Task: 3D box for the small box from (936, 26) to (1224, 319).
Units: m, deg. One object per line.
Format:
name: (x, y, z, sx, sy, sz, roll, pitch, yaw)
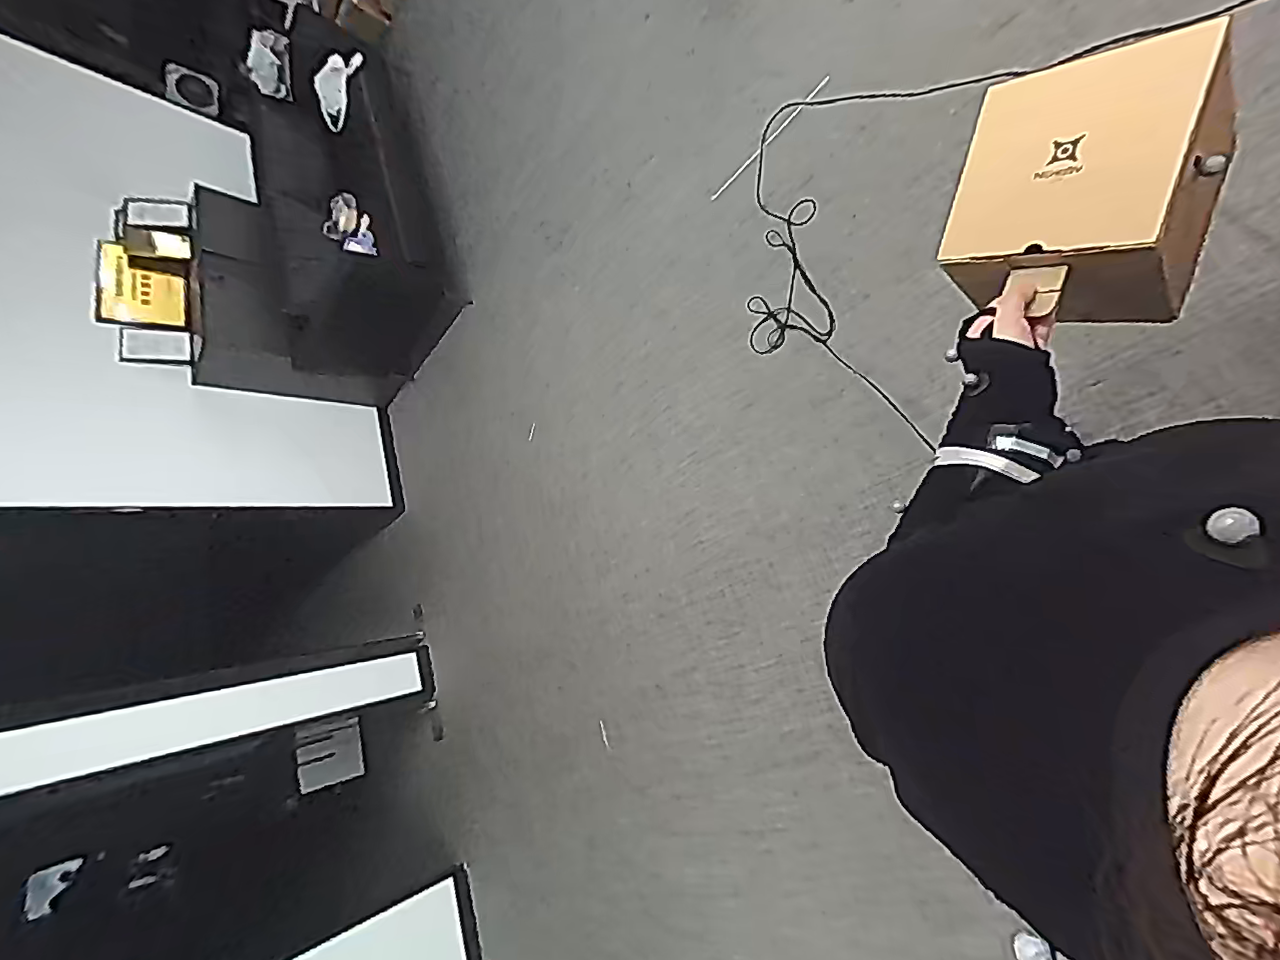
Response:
small box: (0.430, -0.274, 0.533, 0.168, 0.176, 0.179, 20, 97, 49)
